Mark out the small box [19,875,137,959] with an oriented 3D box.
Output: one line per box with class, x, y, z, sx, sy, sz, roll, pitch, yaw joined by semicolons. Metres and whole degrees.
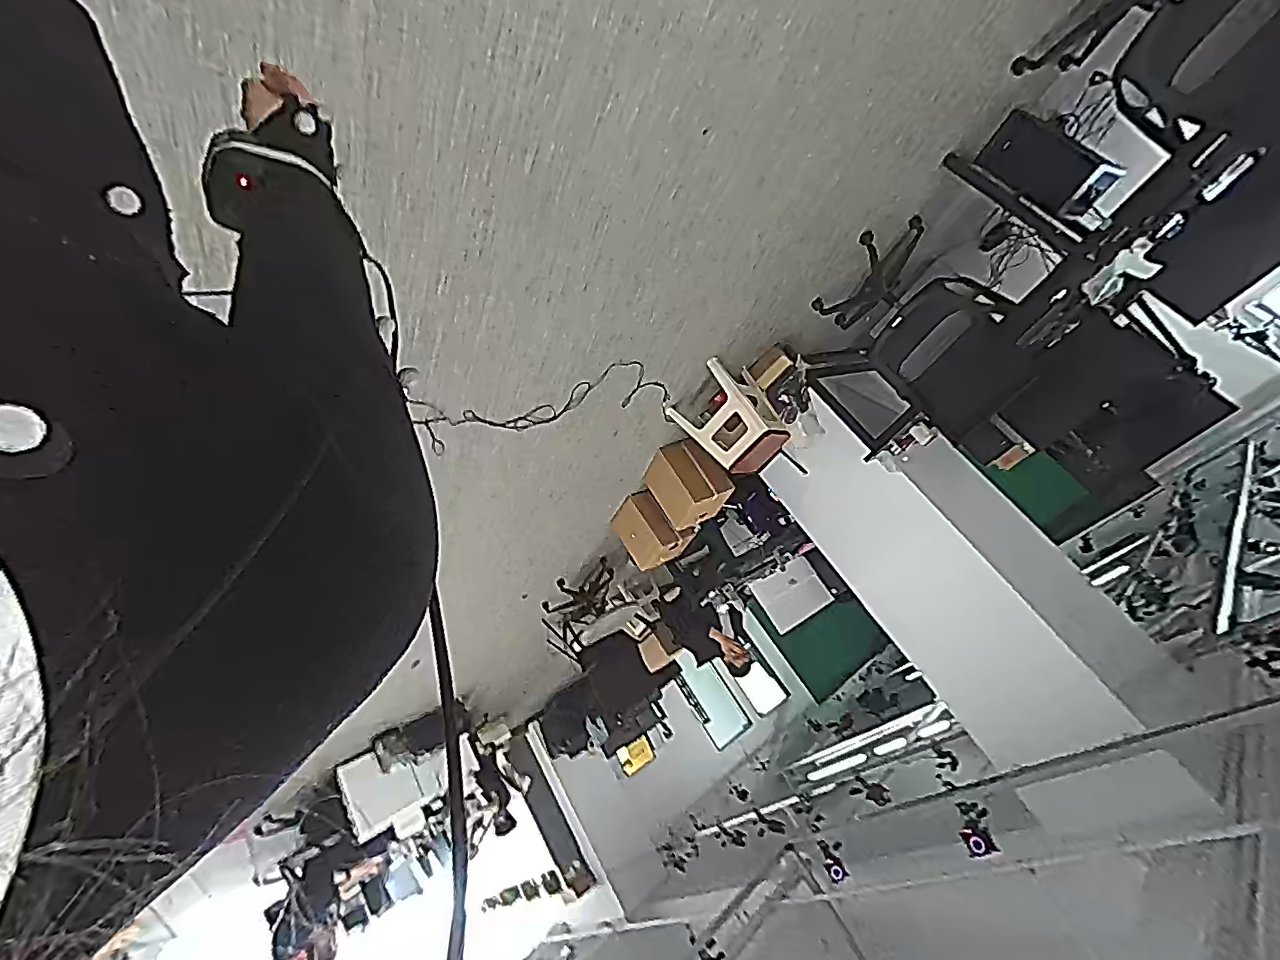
small box;-1.514;1.227;1.466;0.179;0.168;0.176;-23;157;-46
